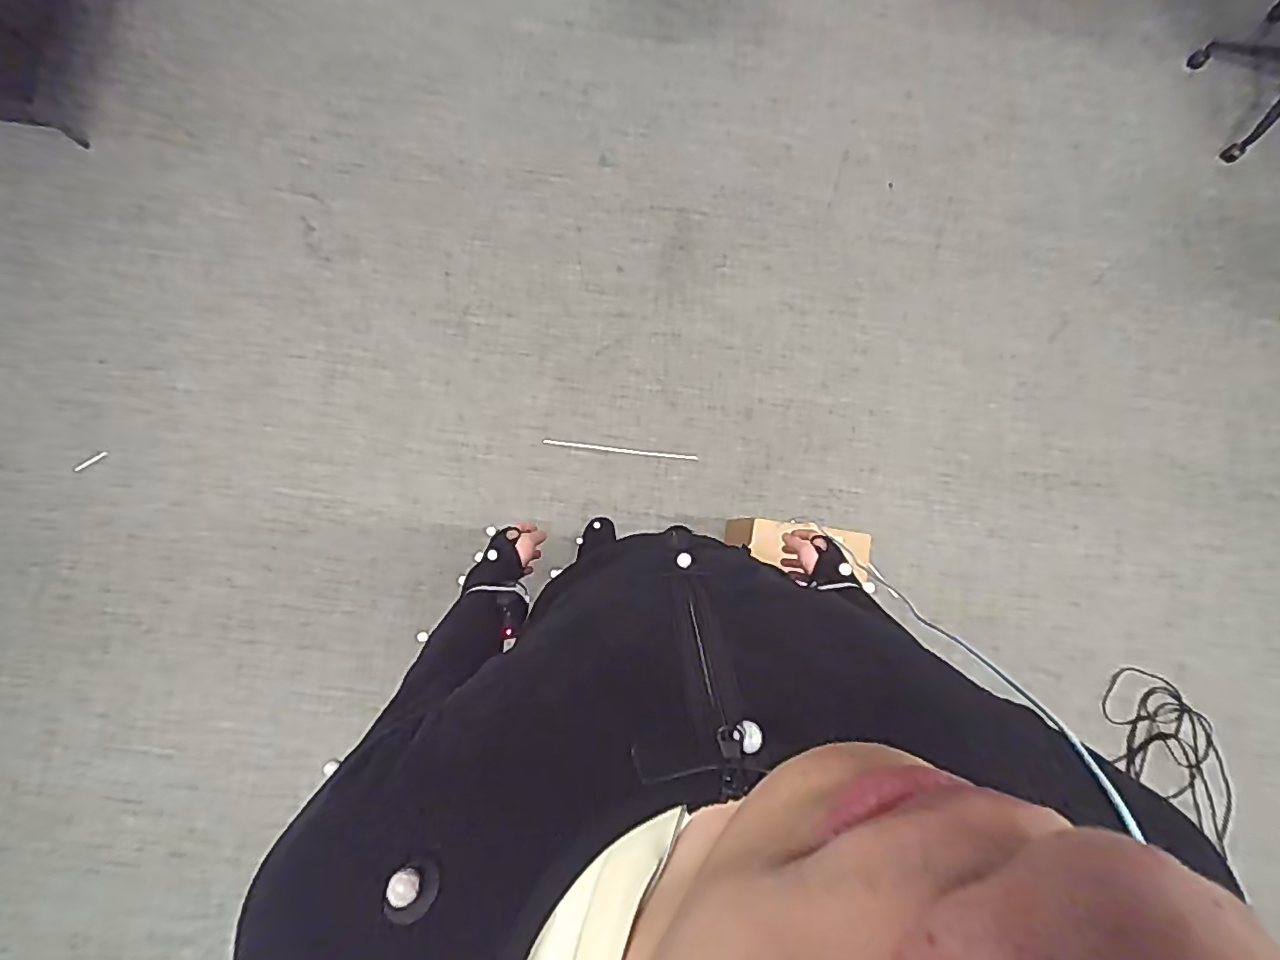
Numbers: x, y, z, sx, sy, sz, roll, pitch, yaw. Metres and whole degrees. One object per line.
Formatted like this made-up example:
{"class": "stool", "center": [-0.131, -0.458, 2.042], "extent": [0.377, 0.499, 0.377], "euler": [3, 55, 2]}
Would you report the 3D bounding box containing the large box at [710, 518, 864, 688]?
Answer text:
{"class": "large box", "center": [0.395, 0.322, 1.521], "extent": [0.320, 0.320, 0.408], "euler": [8, 85, -3]}
